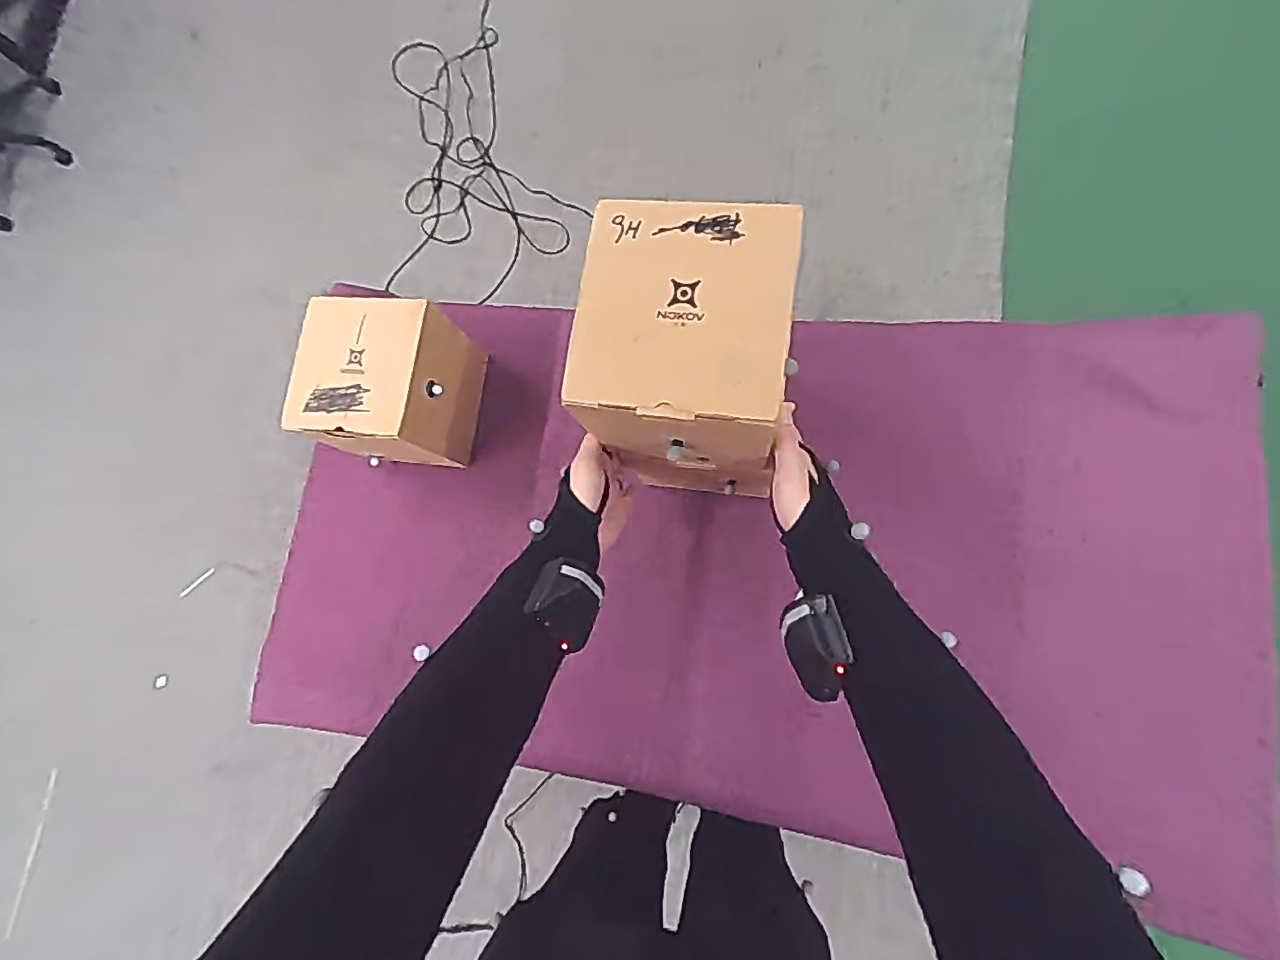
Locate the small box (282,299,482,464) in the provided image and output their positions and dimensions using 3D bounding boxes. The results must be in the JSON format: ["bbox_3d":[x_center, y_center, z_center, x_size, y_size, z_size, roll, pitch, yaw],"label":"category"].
[{"bbox_3d":[-0.333,-0.124,0.733,0.168,0.176,0.179,5,80,12],"label":"small box"}]

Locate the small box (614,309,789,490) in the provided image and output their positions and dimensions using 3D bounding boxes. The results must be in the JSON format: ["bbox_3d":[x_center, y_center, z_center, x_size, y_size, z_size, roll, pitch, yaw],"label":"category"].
[{"bbox_3d":[0.079,-0.090,0.645,0.168,0.176,0.179,7,81,11],"label":"small box"}]

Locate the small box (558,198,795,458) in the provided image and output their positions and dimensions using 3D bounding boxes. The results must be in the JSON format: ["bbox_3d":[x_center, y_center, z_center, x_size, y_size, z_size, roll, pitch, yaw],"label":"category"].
[{"bbox_3d":[0.041,-0.123,0.490,0.168,0.176,0.179,7,82,11],"label":"small box"}]
